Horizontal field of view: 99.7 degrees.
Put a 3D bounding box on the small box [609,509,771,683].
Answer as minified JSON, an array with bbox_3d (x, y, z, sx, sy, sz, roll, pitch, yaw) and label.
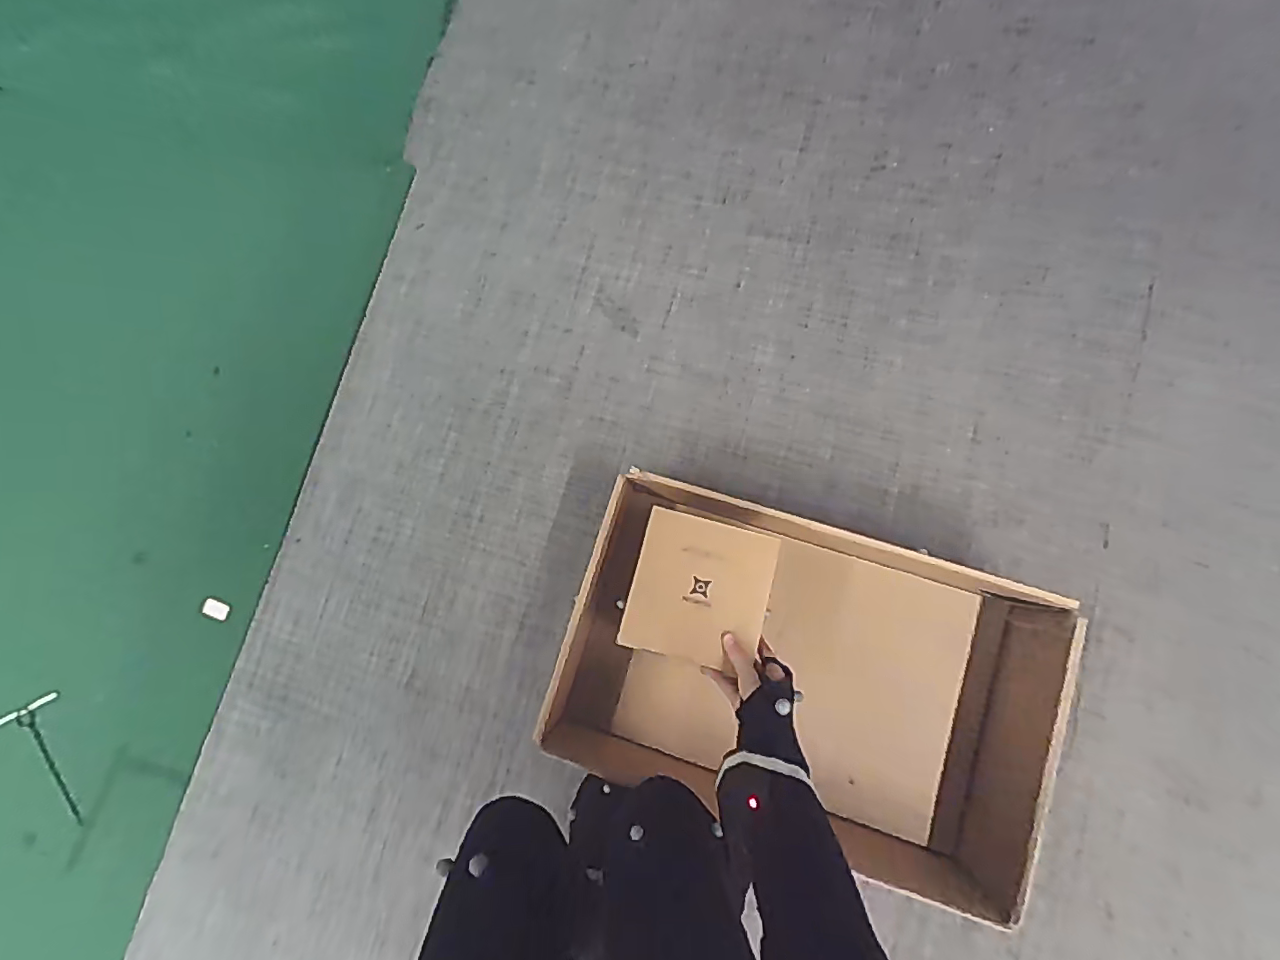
[{"bbox_3d":[0.066,0.157,0.730,0.168,0.176,0.179,14,76,5],"label":"small box"}]
